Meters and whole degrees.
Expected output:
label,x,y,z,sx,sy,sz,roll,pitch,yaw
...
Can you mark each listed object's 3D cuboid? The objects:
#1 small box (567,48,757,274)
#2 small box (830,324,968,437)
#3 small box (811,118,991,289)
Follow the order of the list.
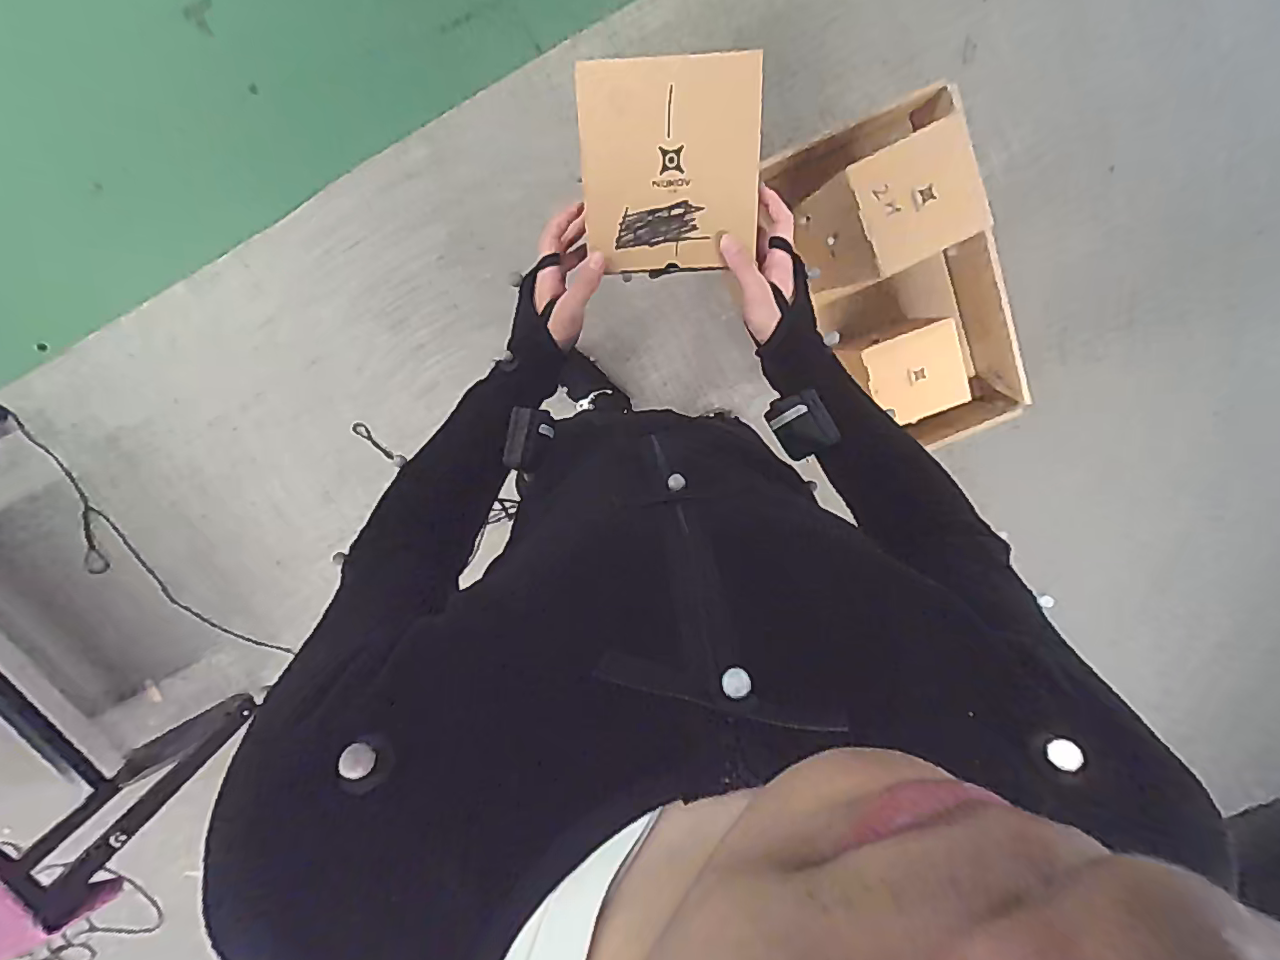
label,x,y,z,sx,sy,sz,roll,pitch,yaw
small box,0.021,-0.314,0.565,0.168,0.176,0.179,-2,111,1
small box,0.510,-0.205,1.081,0.179,0.176,0.168,-20,105,5
small box,0.399,-0.419,0.852,0.179,0.176,0.168,-25,103,5
